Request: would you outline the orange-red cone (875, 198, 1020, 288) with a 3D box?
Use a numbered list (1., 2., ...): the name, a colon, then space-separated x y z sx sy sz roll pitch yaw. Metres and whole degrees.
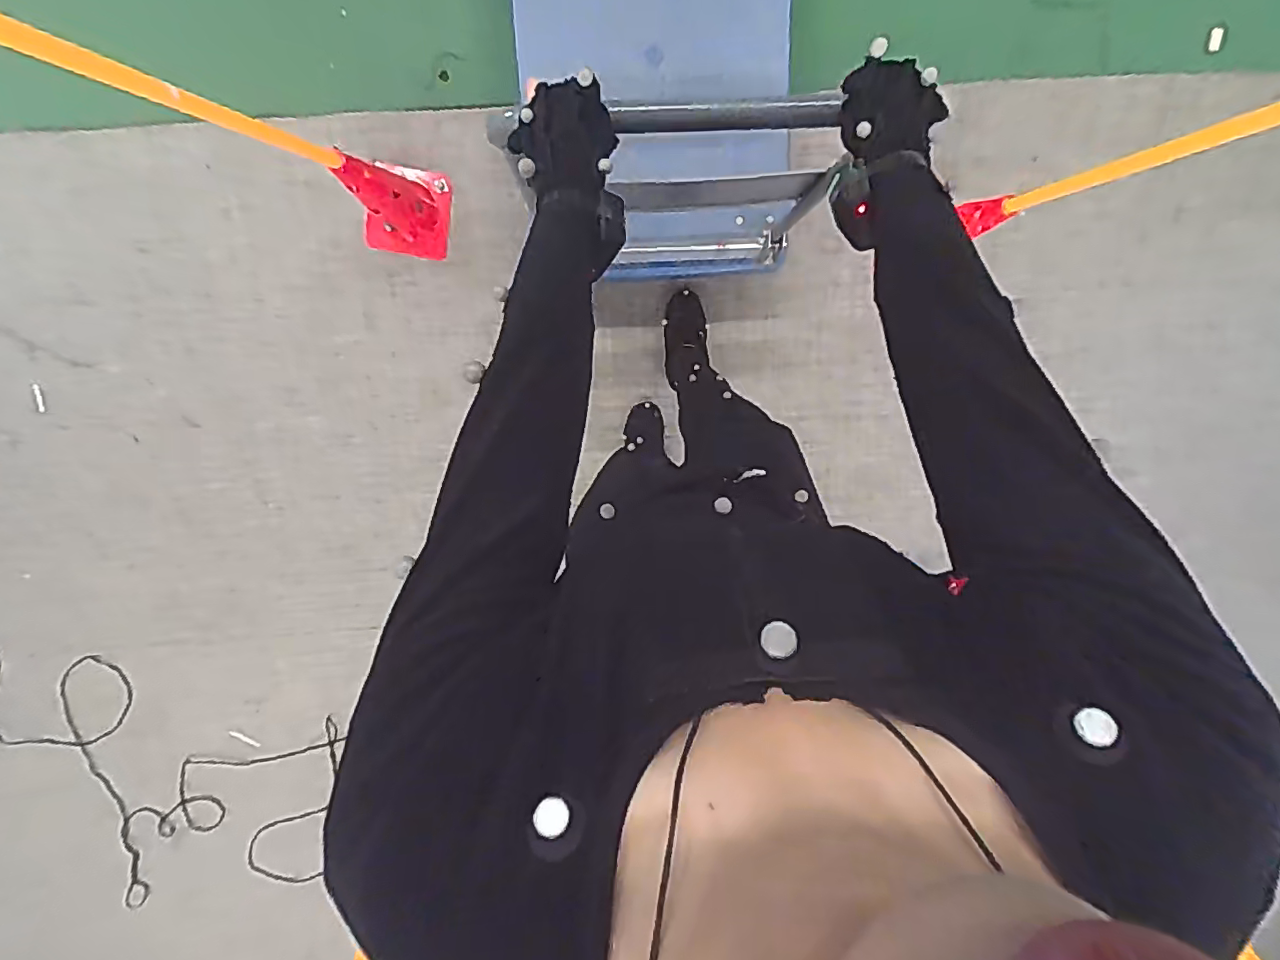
1. orange-red cone: 0.721 -0.569 1.225 0.198 0.360 0.199 7 103 -3
